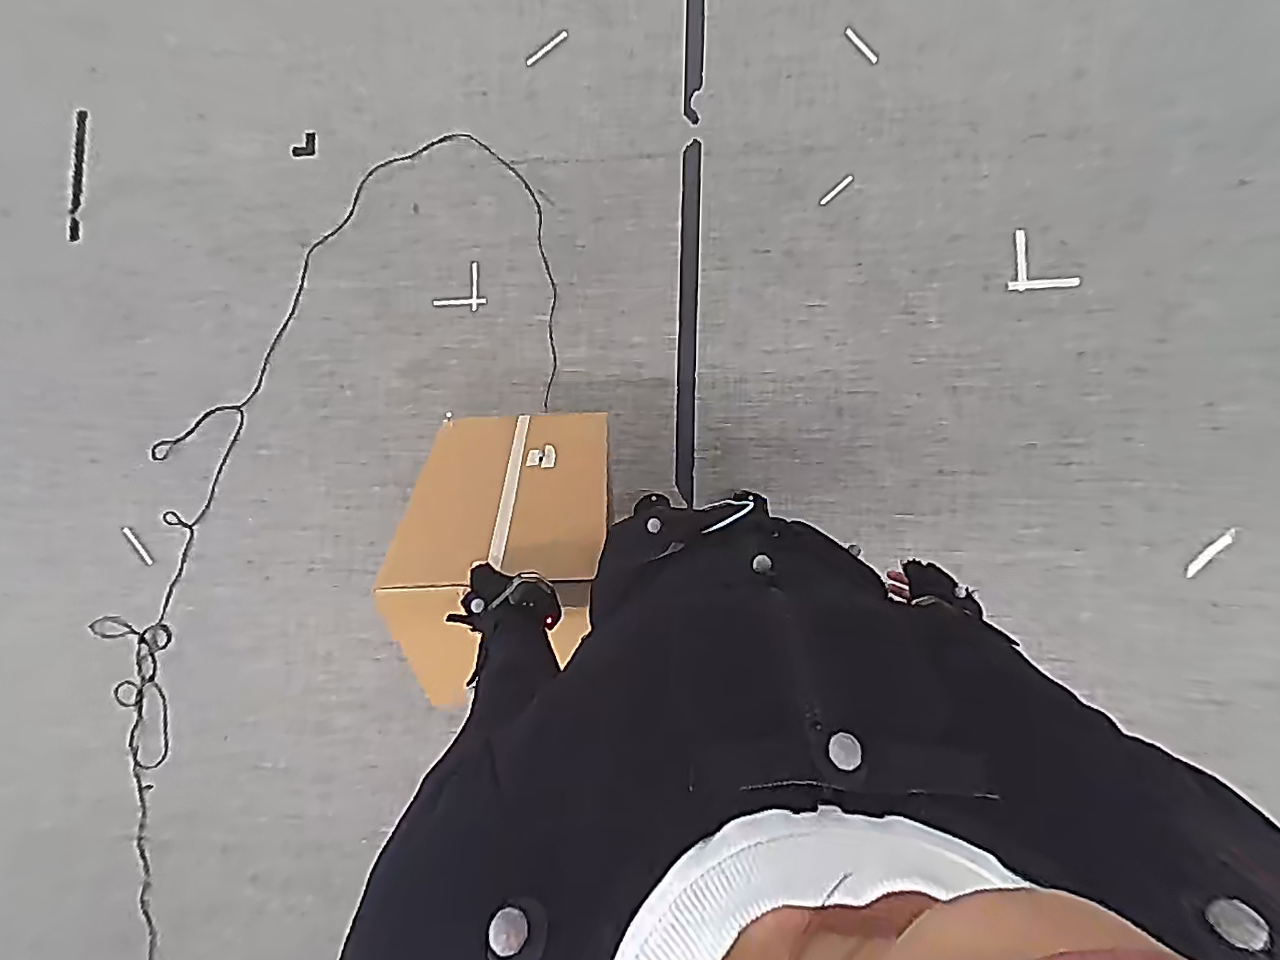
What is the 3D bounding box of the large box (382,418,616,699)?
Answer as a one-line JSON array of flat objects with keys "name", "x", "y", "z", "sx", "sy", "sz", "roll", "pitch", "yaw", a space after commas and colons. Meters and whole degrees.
[{"name": "large box", "x": -0.209, "y": 0.130, "z": 0.986, "sx": 0.320, "sy": 0.408, "sz": 0.320, "roll": -2, "pitch": 130, "yaw": -1}]
